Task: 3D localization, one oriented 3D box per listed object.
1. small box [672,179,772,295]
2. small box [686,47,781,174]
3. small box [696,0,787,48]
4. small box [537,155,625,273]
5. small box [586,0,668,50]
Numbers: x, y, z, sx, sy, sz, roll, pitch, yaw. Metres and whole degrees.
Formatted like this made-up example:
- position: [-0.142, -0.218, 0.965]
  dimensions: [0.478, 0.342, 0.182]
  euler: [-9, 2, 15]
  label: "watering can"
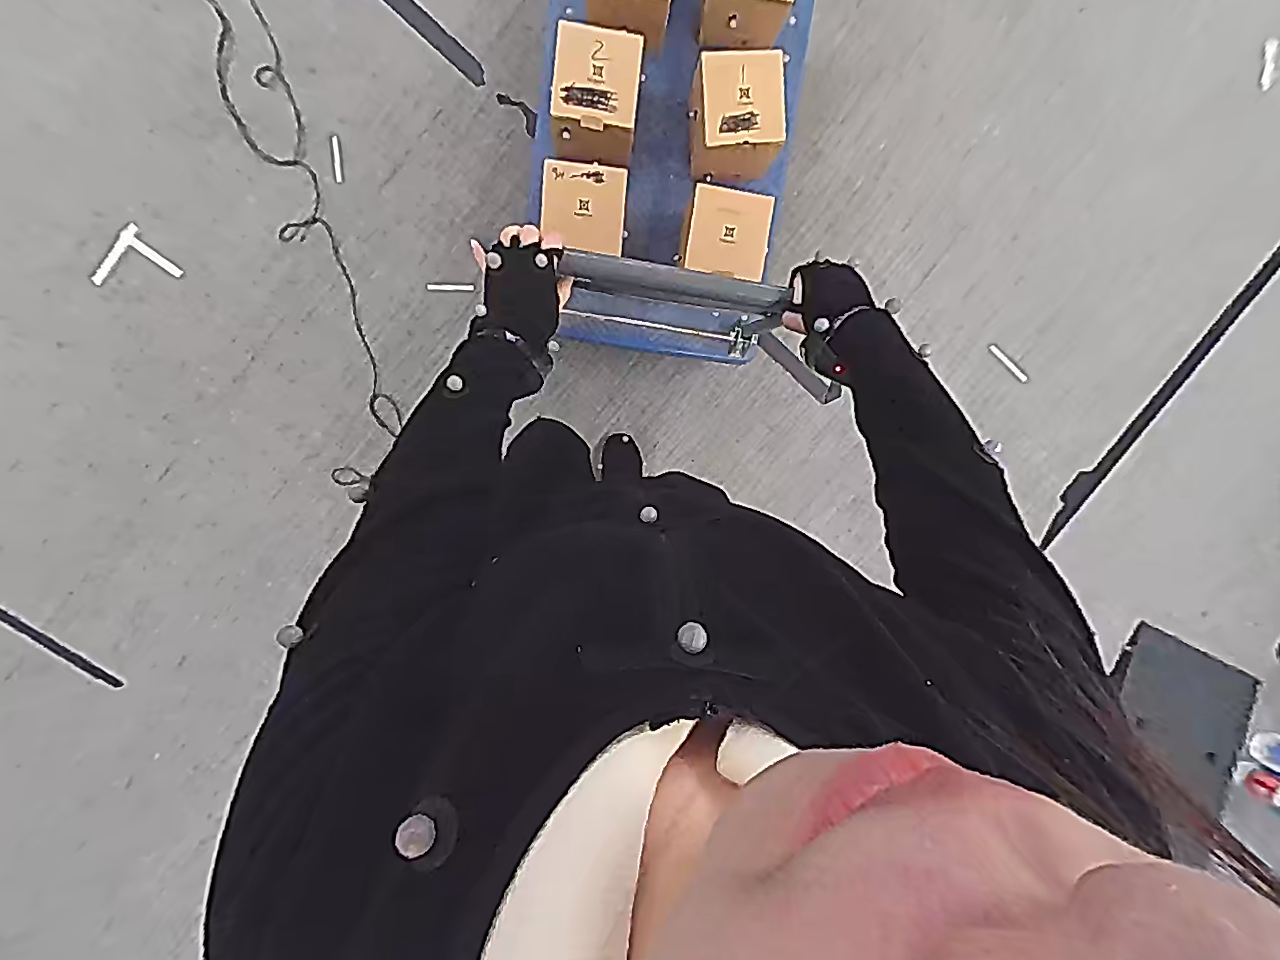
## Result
- position: [0.170, -0.519, 1.184]
  dimensions: [0.168, 0.176, 0.179]
  euler: [8, 96, -7]
  label: "small box"
- position: [0.194, -0.775, 1.153]
  dimensions: [0.168, 0.176, 0.179]
  euler: [-4, 97, -5]
  label: "small box"
- position: [0.215, -1.045, 1.122]
  dimensions: [0.168, 0.176, 0.179]
  euler: [5, 97, -5]
  label: "small box"
- position: [-0.125, -0.553, 1.151]
  dimensions: [0.168, 0.176, 0.179]
  euler: [4, 97, -7]
  label: "small box"
- position: [-0.019, -1.038, 1.099]
  dimensions: [0.168, 0.176, 0.179]
  euler: [9, 97, -6]
  label: "small box"
